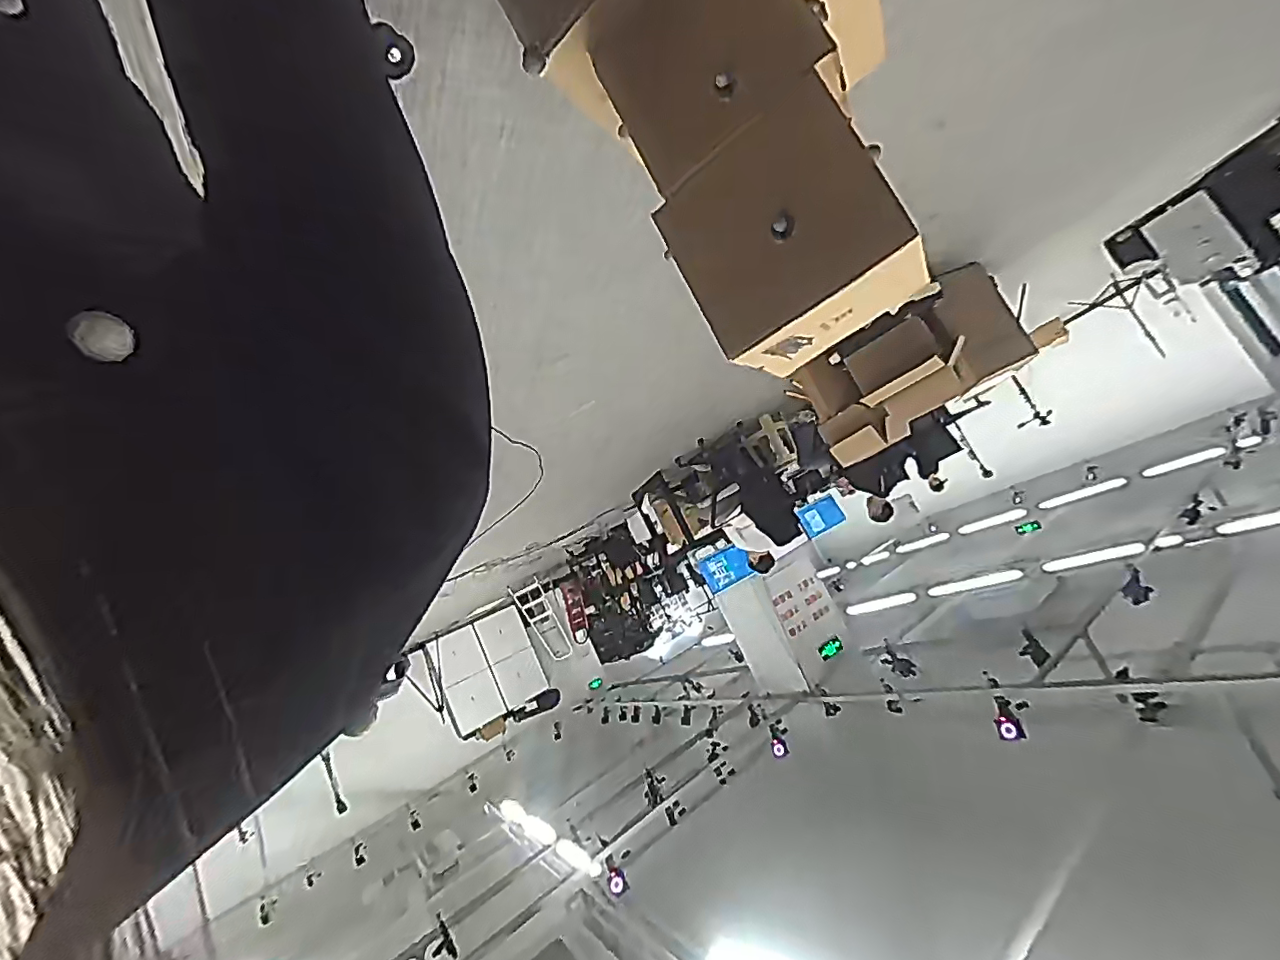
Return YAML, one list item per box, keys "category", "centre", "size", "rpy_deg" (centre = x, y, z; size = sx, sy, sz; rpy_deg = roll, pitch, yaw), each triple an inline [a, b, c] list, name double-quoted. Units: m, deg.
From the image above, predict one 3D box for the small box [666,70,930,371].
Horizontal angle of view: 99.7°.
- category: "small box"
  centre: [0.146, -0.228, 0.523]
  size: [0.179, 0.176, 0.168]
  rpy_deg: [-31, 169, 33]

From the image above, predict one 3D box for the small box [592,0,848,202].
- category: "small box"
  centre: [0.083, -0.380, 0.540]
  size: [0.179, 0.176, 0.168]
  rpy_deg: [-29, 170, 25]
